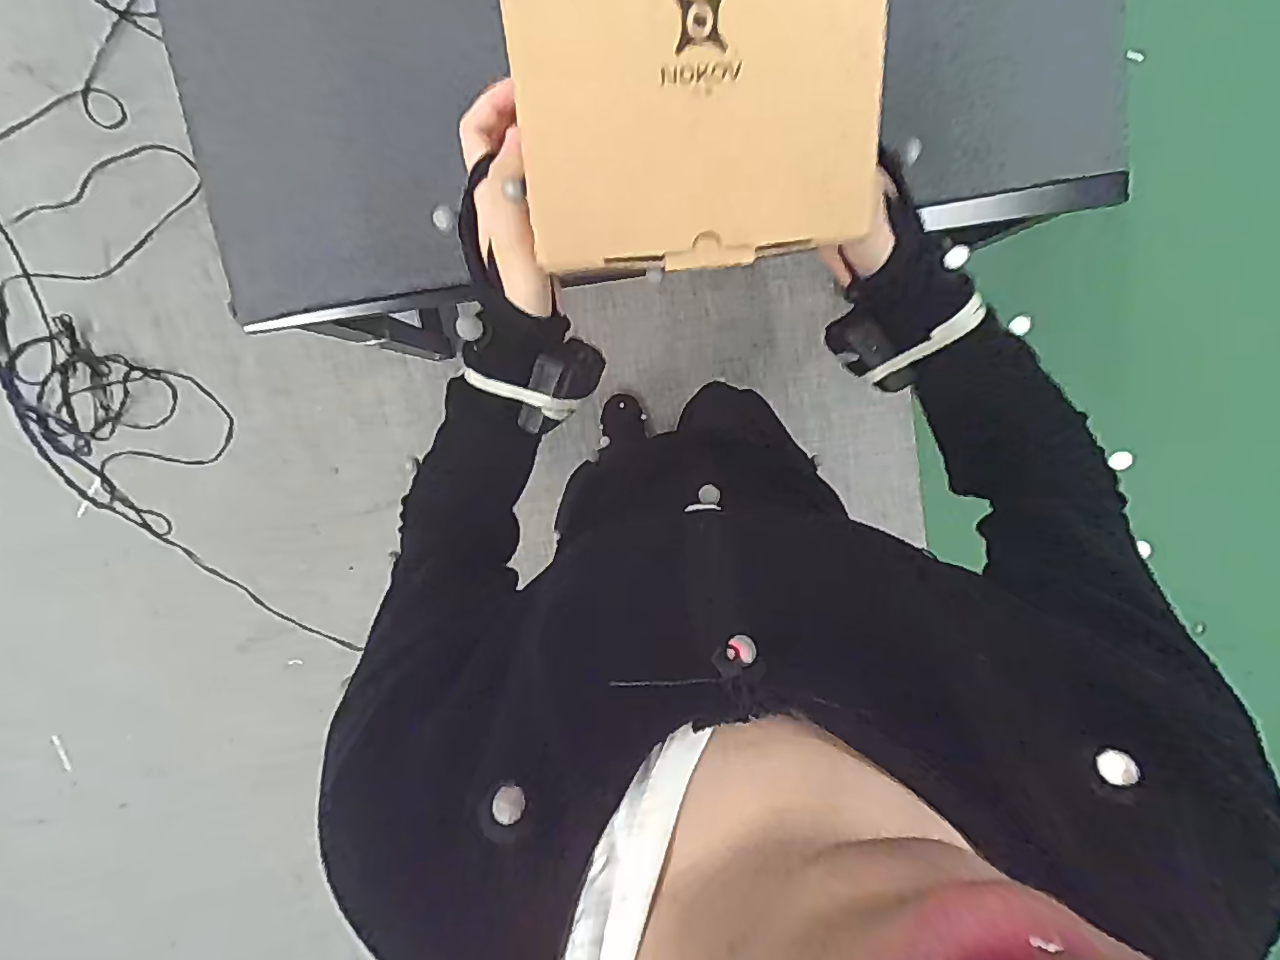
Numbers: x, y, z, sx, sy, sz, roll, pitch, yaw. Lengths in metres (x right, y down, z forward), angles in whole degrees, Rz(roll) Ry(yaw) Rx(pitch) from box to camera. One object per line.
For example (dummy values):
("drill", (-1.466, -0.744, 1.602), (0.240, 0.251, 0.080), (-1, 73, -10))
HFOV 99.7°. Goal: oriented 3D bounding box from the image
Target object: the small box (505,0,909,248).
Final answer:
("small box", (0.019, -0.227, 0.285), (0.168, 0.176, 0.179), (-7, 112, -3))
